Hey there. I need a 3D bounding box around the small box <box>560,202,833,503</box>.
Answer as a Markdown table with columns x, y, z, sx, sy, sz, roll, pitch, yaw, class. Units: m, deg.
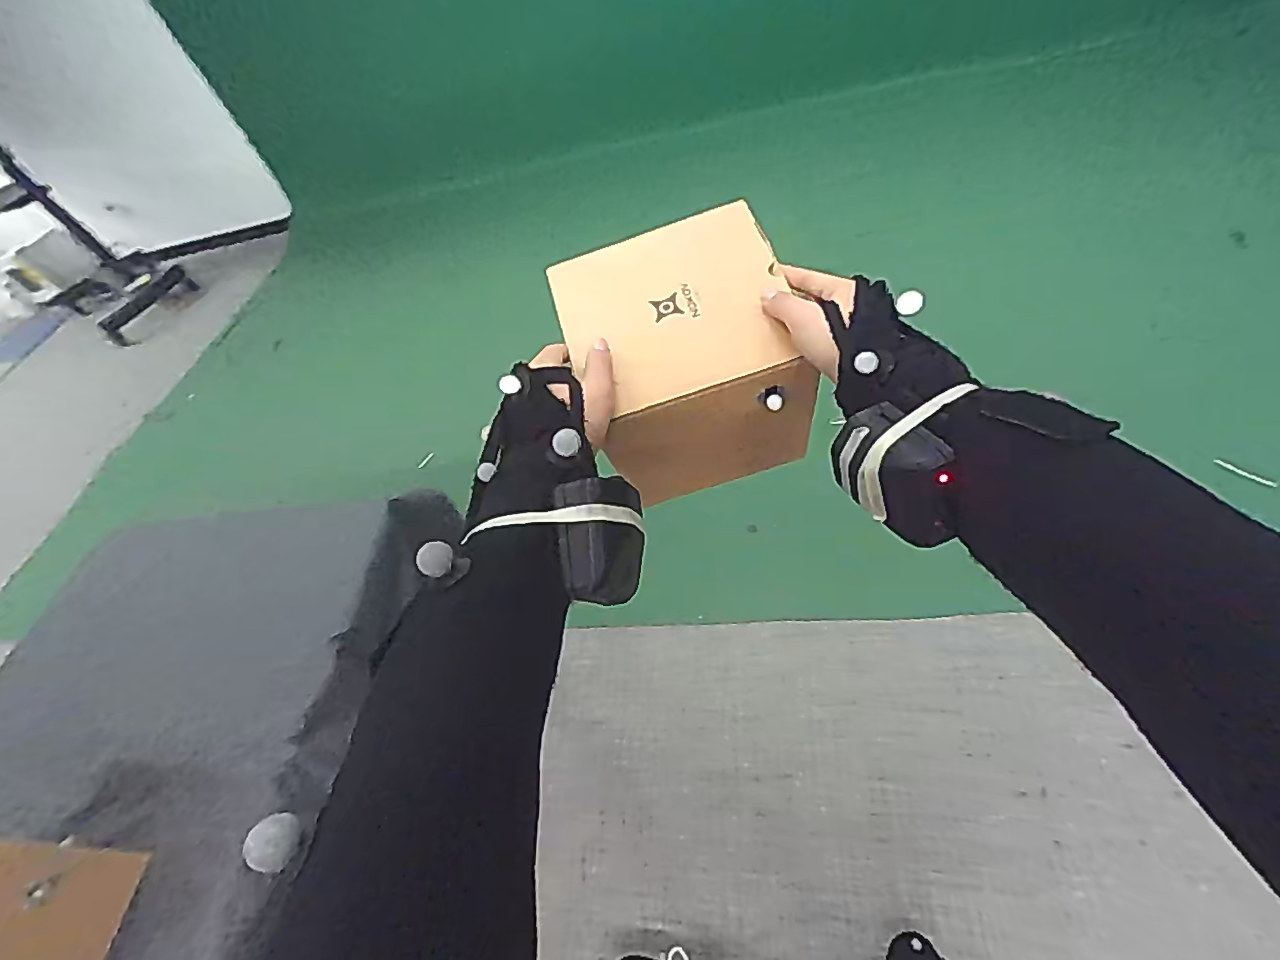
| x | y | z | sx | sy | sz | roll | pitch | yaw | class |
| --- | --- | --- | --- | --- | --- | --- | --- | --- | --- |
| 0.049 | -0.099 | 0.480 | 0.179 | 0.176 | 0.168 | -18 | 63 | 3 | small box |
